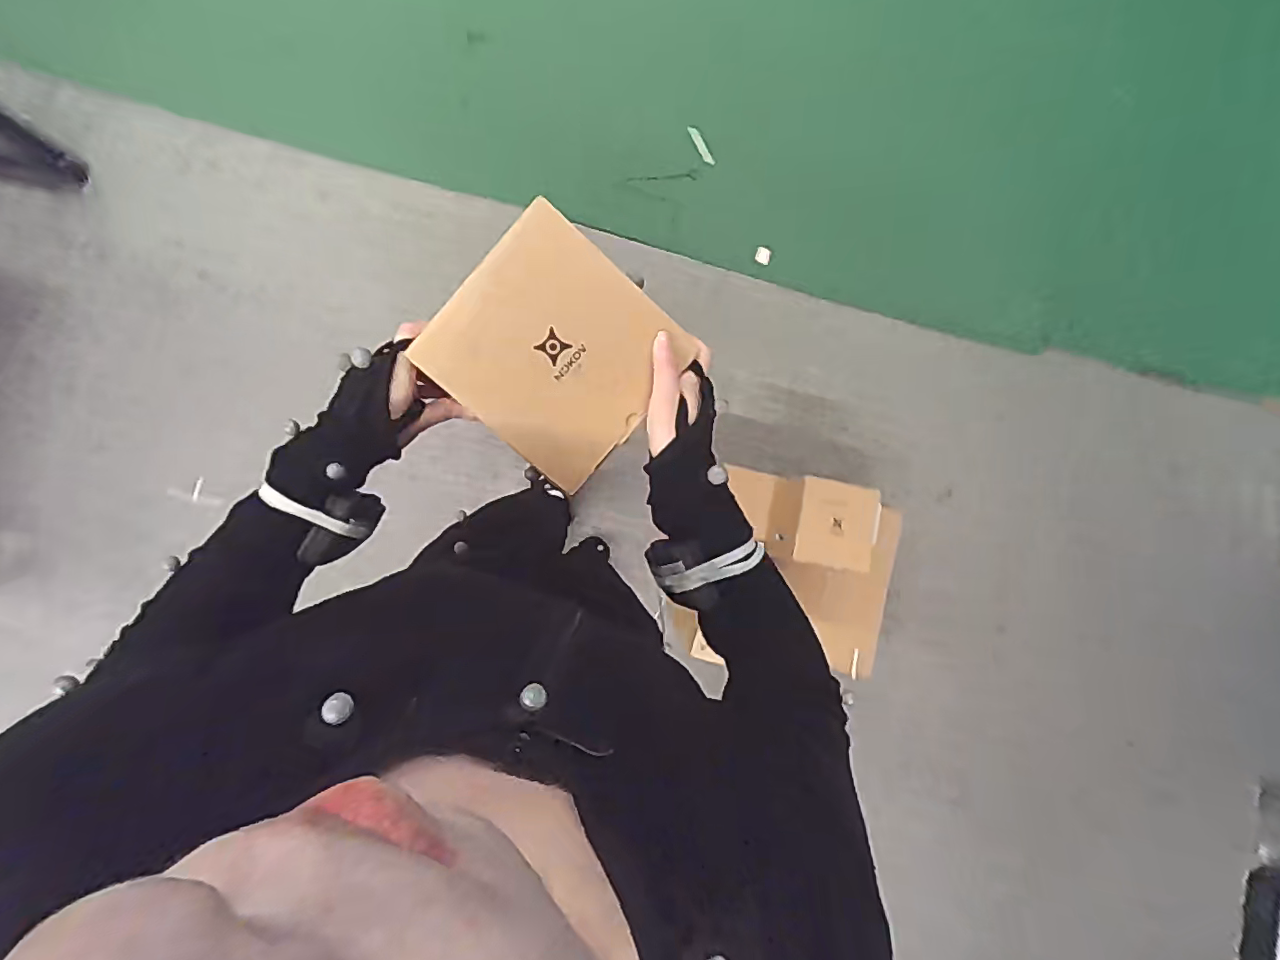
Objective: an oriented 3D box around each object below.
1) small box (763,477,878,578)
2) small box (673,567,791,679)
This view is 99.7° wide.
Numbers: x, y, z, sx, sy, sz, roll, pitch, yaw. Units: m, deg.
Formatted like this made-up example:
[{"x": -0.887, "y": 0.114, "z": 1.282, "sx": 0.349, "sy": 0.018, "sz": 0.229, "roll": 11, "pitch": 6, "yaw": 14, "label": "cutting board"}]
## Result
[{"x": 0.380, "y": 0.100, "z": 1.167, "sx": 0.168, "sy": 0.176, "sz": 0.179, "roll": 13, "pitch": 85, "yaw": -7, "label": "small box"}, {"x": 0.184, "y": 0.289, "z": 1.131, "sx": 0.179, "sy": 0.176, "sz": 0.168, "roll": 19, "pitch": 86, "yaw": -6, "label": "small box"}]
